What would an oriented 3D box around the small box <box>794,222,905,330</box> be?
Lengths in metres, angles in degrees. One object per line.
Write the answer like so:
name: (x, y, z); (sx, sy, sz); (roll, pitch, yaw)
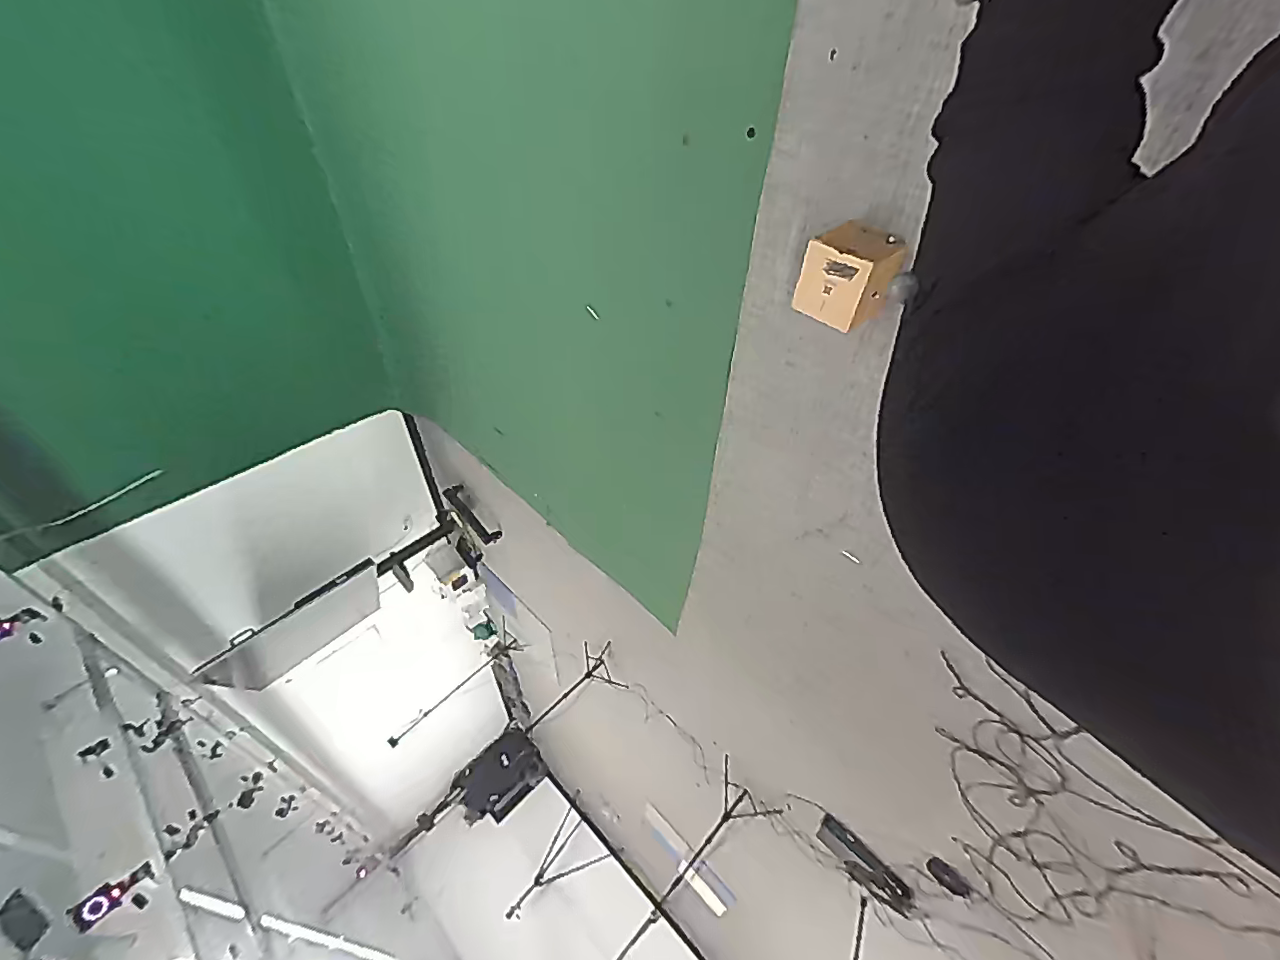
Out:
small box: (0.508, -0.499, 1.308); (0.168, 0.176, 0.179); (38, 145, 26)
